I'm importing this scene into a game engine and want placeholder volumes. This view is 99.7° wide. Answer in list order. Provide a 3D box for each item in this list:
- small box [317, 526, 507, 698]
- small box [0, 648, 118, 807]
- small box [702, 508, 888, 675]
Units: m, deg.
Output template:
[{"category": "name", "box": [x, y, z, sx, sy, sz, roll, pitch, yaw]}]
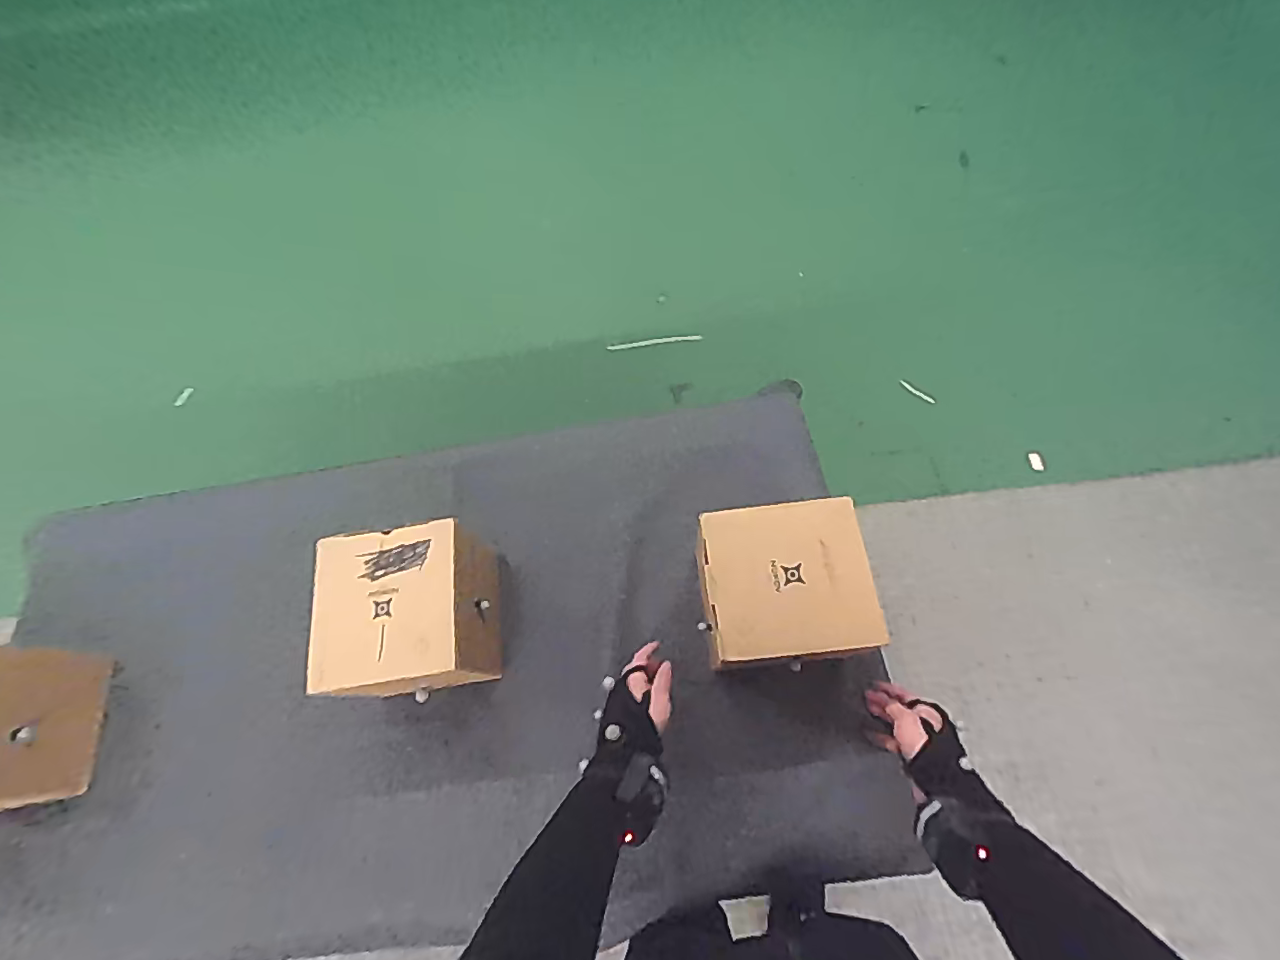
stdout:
[{"category": "small box", "box": [-0.273, 0.174, 0.688, 0.168, 0.176, 0.179, -9, 68, 0]}, {"category": "small box", "box": [-0.808, 0.311, 0.665, 0.168, 0.176, 0.179, -10, 67, -1]}, {"category": "small box", "box": [0.173, 0.146, 0.671, 0.179, 0.176, 0.168, -6, 68, 0]}]
